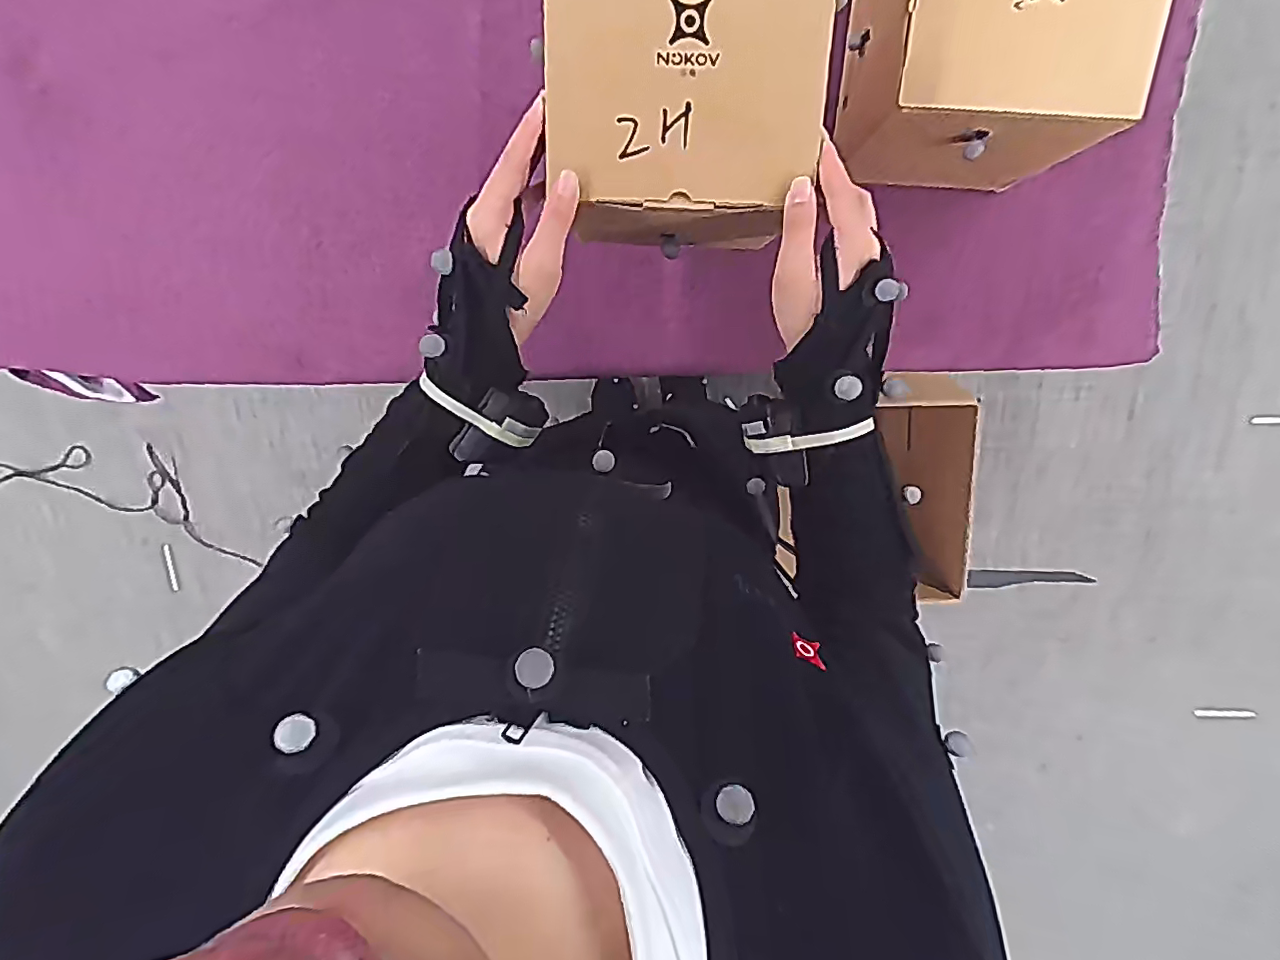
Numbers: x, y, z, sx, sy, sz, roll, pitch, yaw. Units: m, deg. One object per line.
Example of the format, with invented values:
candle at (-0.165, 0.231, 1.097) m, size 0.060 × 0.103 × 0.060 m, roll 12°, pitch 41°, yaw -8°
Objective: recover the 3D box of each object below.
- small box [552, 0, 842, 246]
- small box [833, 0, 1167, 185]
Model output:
small box at (0.032, -0.277, 0.386) m, size 0.168 × 0.176 × 0.179 m, roll 2°, pitch 106°, yaw 1°
small box at (0.282, -0.362, 0.450) m, size 0.179 × 0.176 × 0.168 m, roll 5°, pitch 103°, yaw 3°
